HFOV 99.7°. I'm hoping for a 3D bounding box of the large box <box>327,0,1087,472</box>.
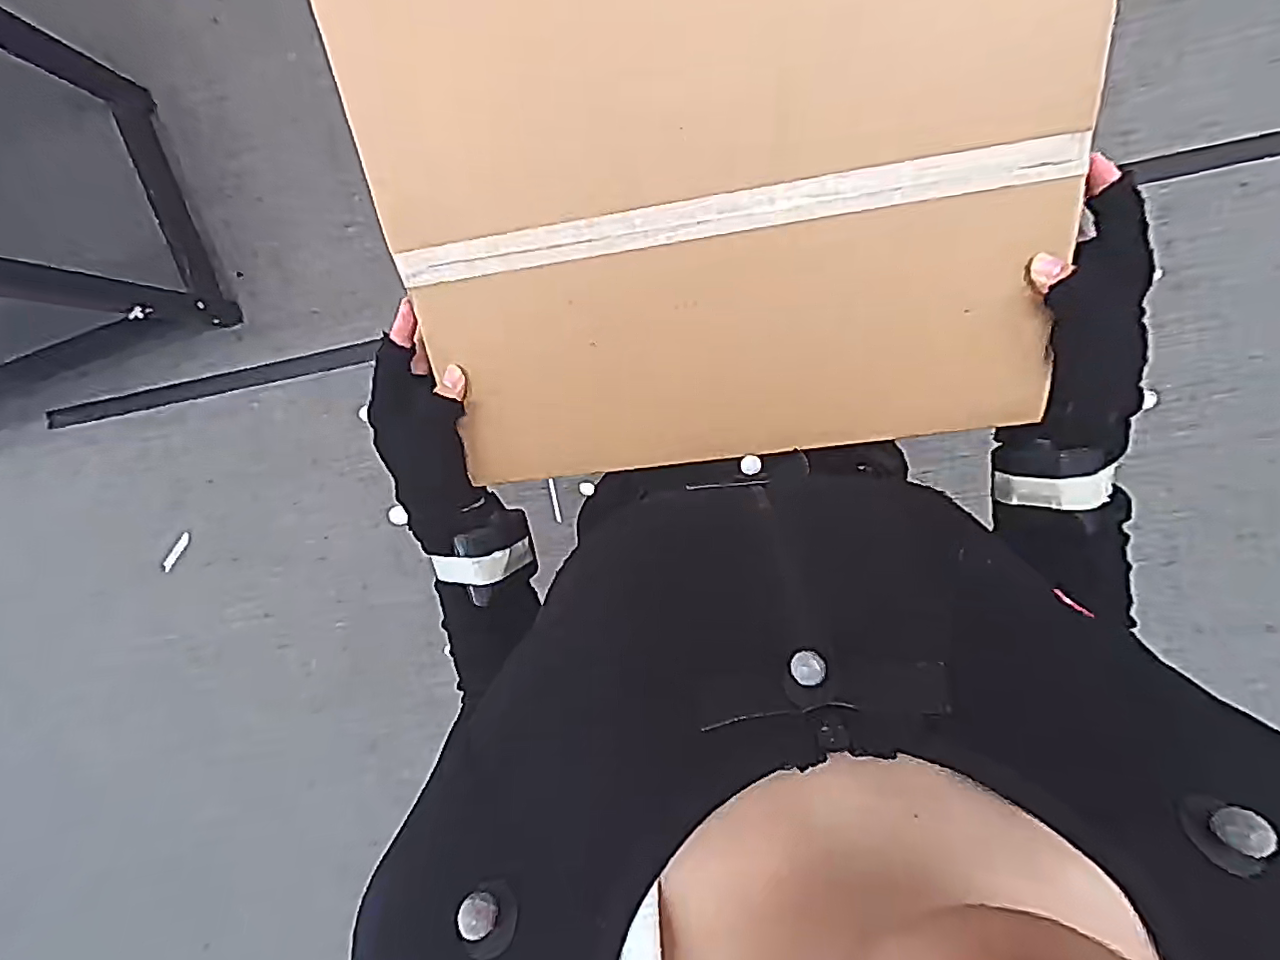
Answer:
[{"bbox_3d":[0.051,-0.230,0.465,0.408,0.320,0.320,-6,117,6],"label":"large box"}]
